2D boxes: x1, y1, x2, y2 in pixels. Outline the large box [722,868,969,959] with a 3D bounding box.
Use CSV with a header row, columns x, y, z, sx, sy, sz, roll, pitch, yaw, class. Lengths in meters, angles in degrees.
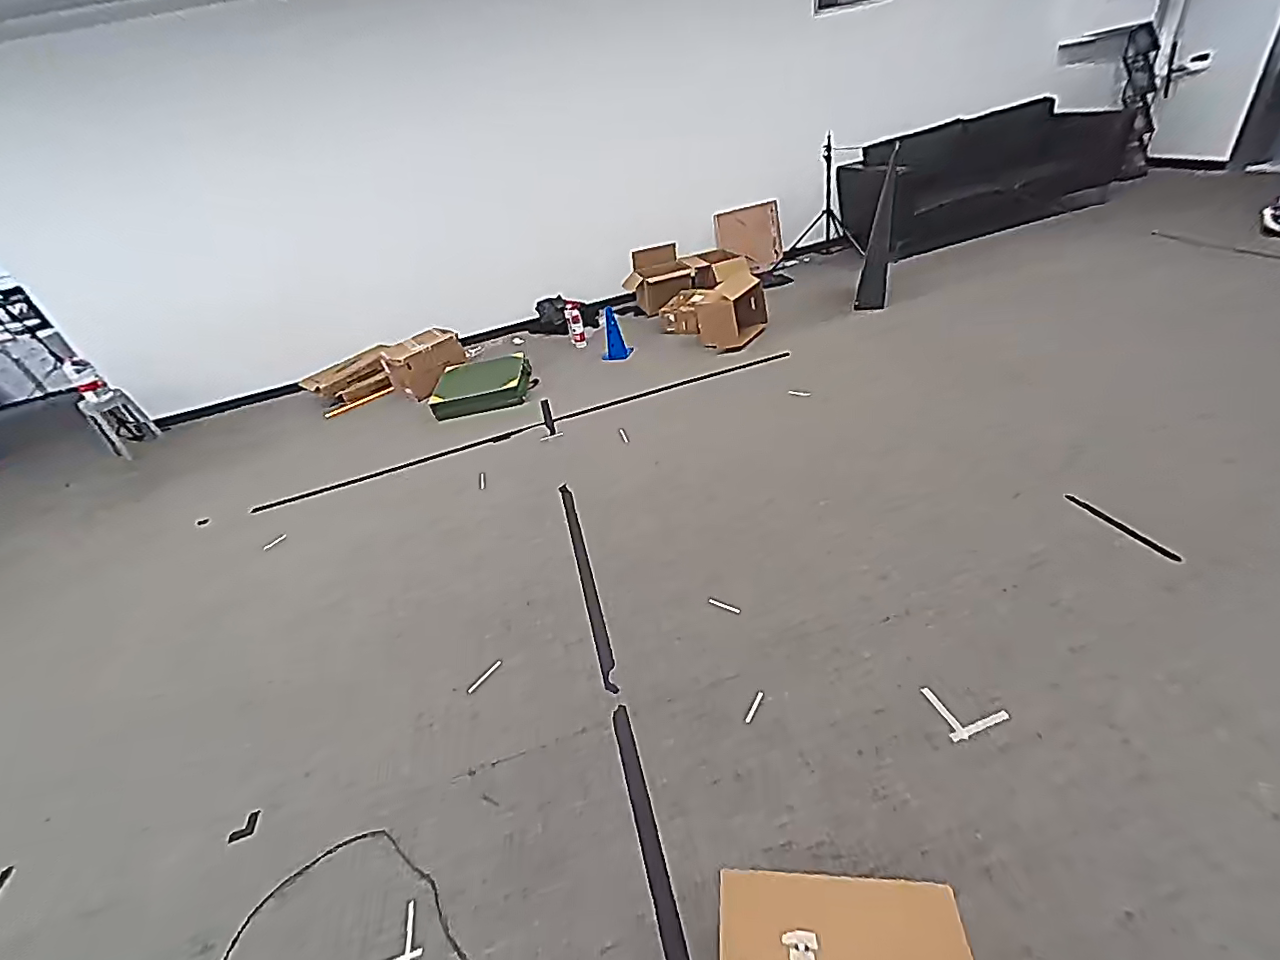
x,y,z,sx,sy,sz,roll,pitch,yaw,class
0.365,0.934,0.959,0.408,0.320,0.320,-5,34,12,large box
